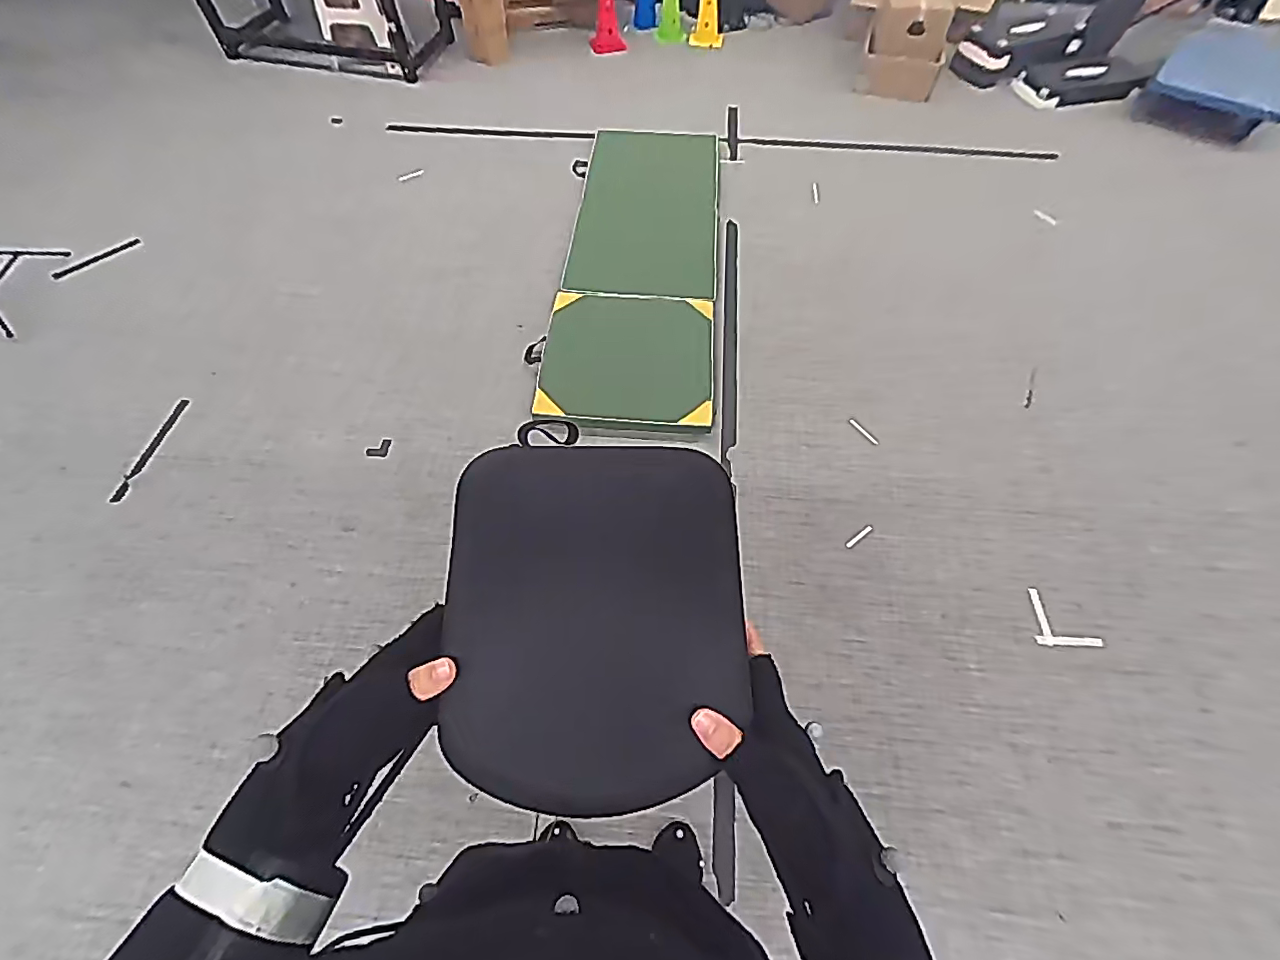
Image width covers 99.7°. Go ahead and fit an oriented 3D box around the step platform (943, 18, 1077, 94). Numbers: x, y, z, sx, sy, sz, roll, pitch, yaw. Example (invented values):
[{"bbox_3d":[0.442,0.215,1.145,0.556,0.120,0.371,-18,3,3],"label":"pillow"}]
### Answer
[{"bbox_3d":[2.107,-2.419,3.078,0.684,0.204,0.286,-22,62,-13],"label":"step platform"}]
